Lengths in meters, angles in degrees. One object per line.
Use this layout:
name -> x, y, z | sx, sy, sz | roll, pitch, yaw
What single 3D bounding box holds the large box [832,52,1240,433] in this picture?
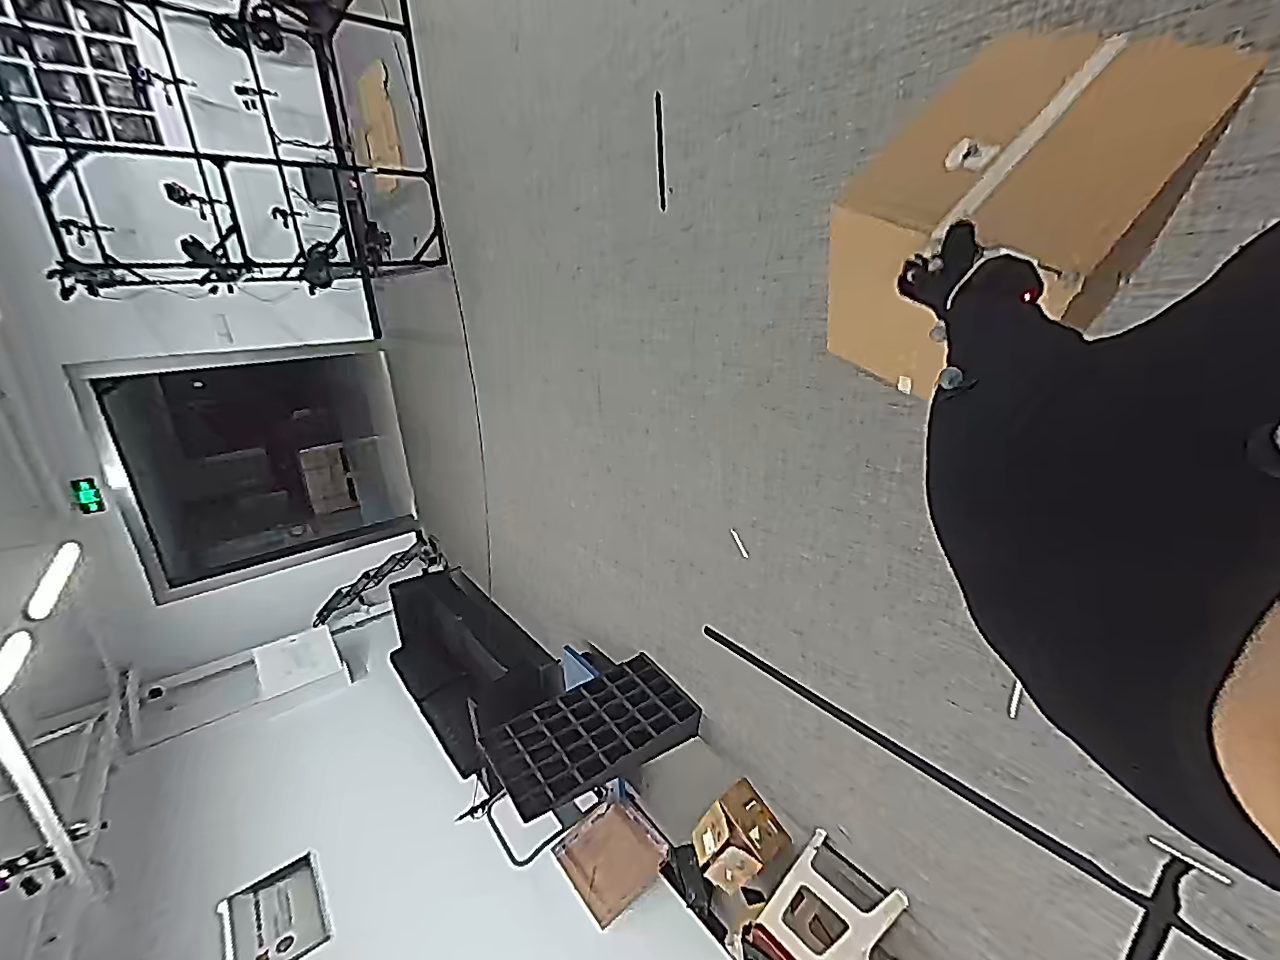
large box -> 0.545, -0.356, 0.829 | 0.320, 0.408, 0.320 | 38, 169, 33
